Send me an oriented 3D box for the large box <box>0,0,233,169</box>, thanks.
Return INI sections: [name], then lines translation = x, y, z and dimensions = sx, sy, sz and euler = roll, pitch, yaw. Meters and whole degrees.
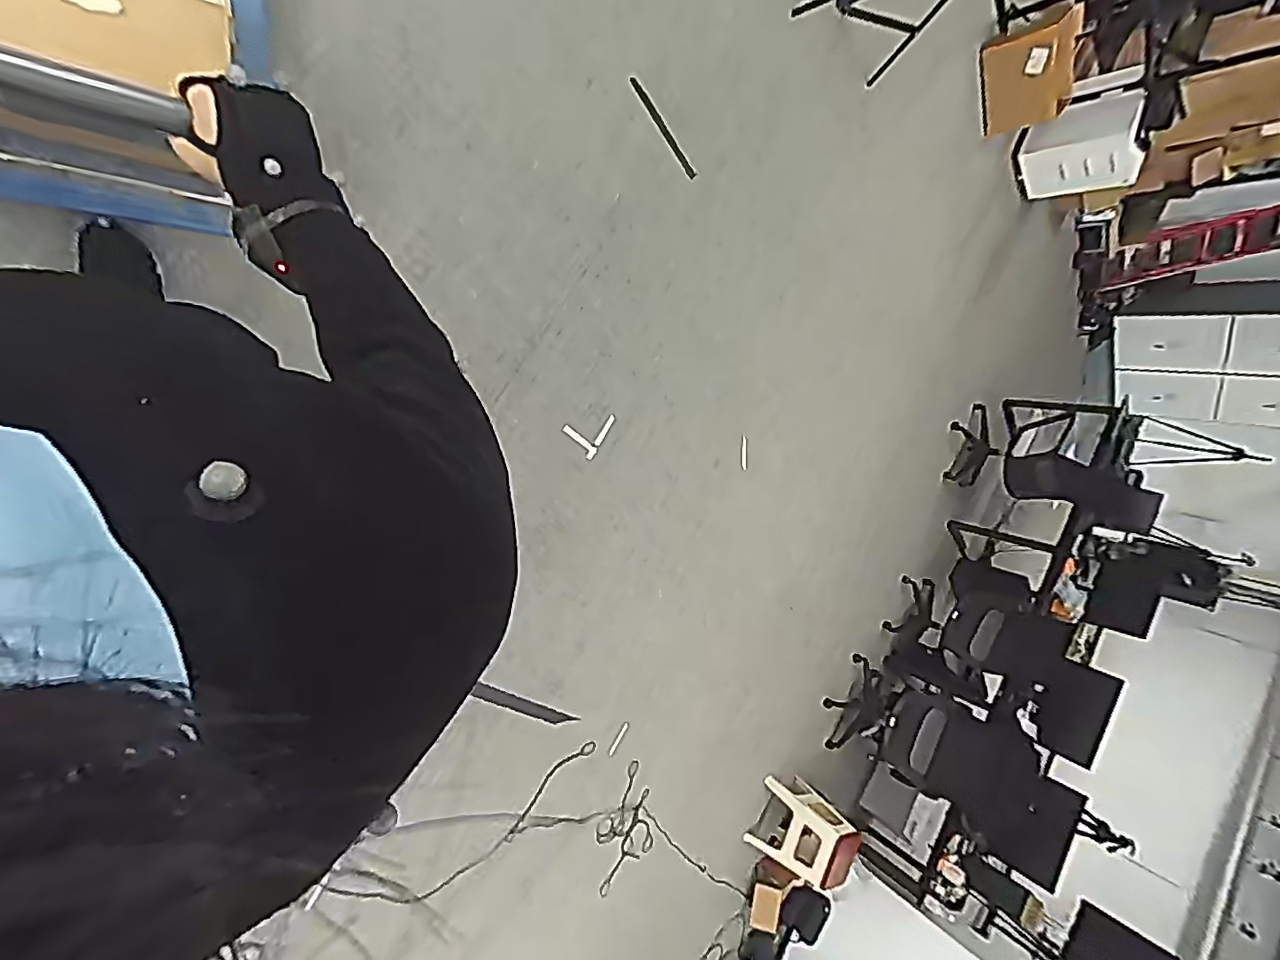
[large box]
translation = -0.810, -0.658, 0.704
dimensions = 0.408, 0.320, 0.320
euler = -6, 106, -42
